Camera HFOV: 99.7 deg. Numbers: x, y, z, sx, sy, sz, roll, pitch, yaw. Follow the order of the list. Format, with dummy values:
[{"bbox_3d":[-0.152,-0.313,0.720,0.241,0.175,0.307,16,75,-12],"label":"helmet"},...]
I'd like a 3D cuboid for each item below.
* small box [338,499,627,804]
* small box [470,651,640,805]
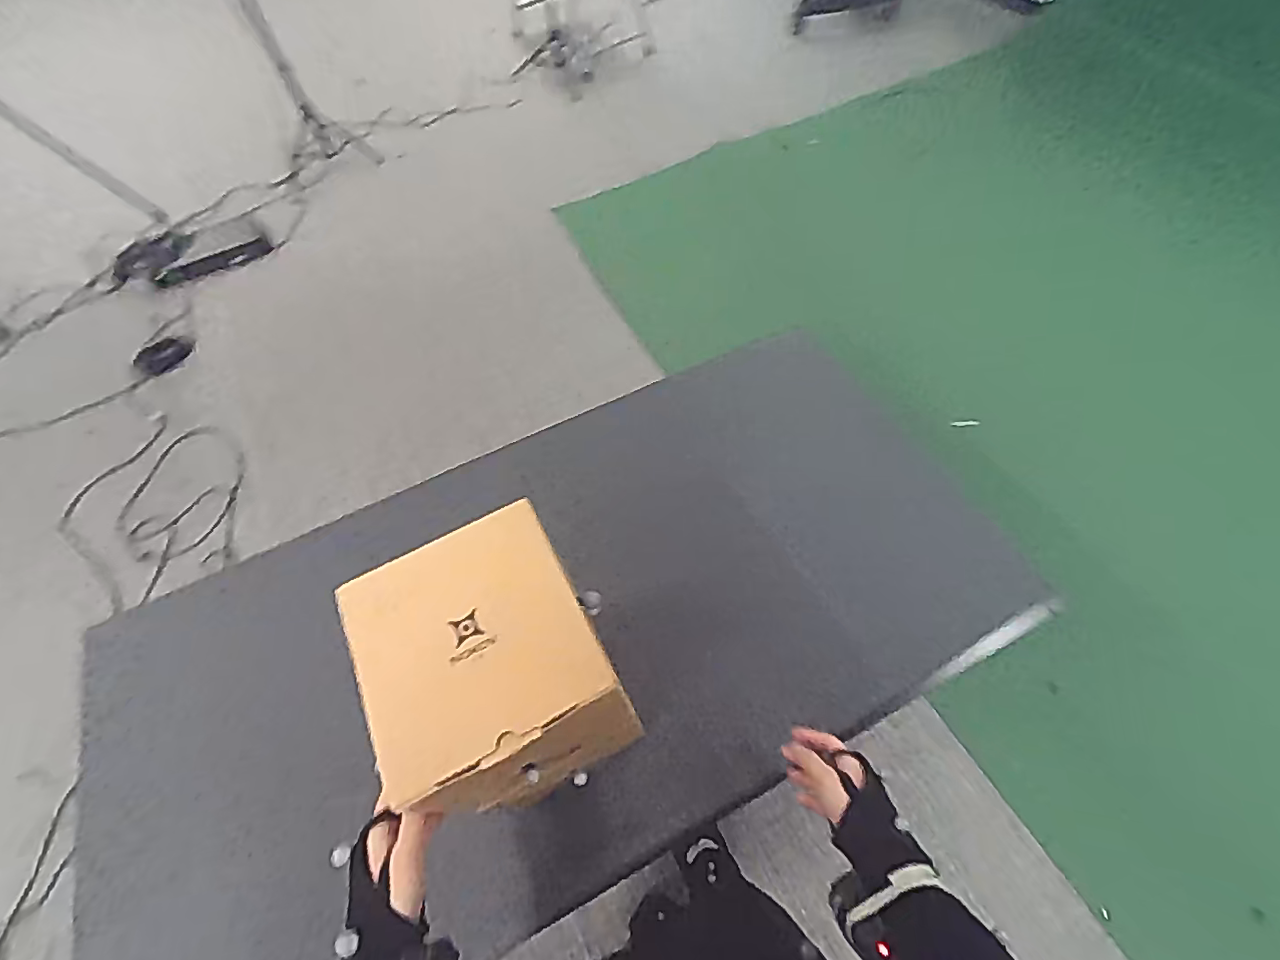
[{"bbox_3d":[-0.124,0.154,0.470,0.168,0.176,0.179,-27,61,-12],"label":"small box"},{"bbox_3d":[-0.113,0.239,0.608,0.168,0.176,0.179,-27,60,-11],"label":"small box"}]
